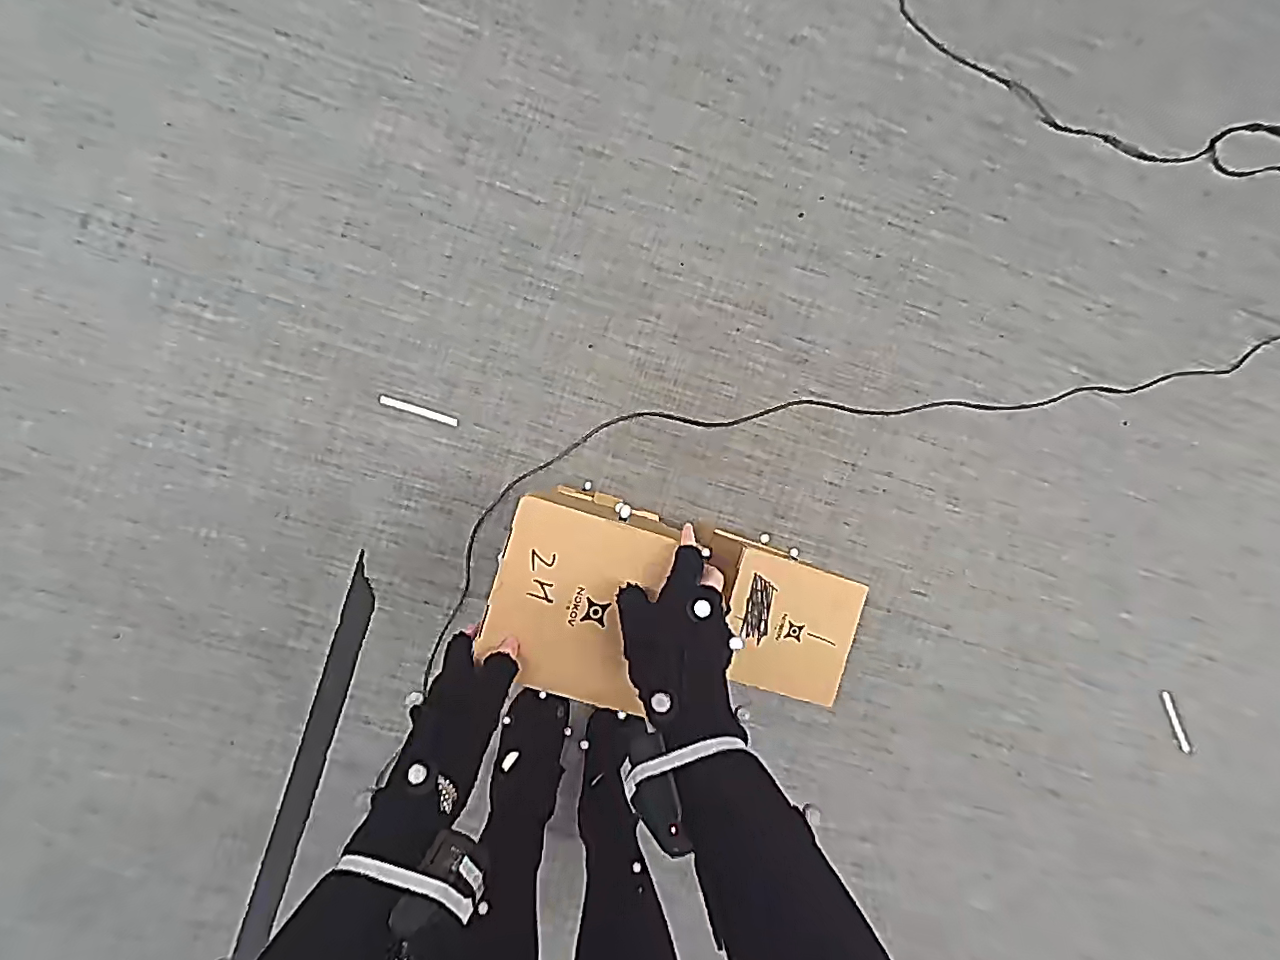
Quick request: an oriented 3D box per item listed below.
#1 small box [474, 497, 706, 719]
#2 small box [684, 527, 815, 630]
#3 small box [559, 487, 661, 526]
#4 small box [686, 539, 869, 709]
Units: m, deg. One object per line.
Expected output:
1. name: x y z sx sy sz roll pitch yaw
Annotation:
1. small box: -0.050 0.118 0.572 0.179 0.176 0.168 18 89 -4
2. small box: 0.163 0.184 0.925 0.179 0.176 0.168 19 89 -6
3. small box: -0.076 0.115 0.900 0.168 0.176 0.179 18 90 -4
4. small box: 0.179 0.188 0.761 0.179 0.176 0.168 19 89 -7
